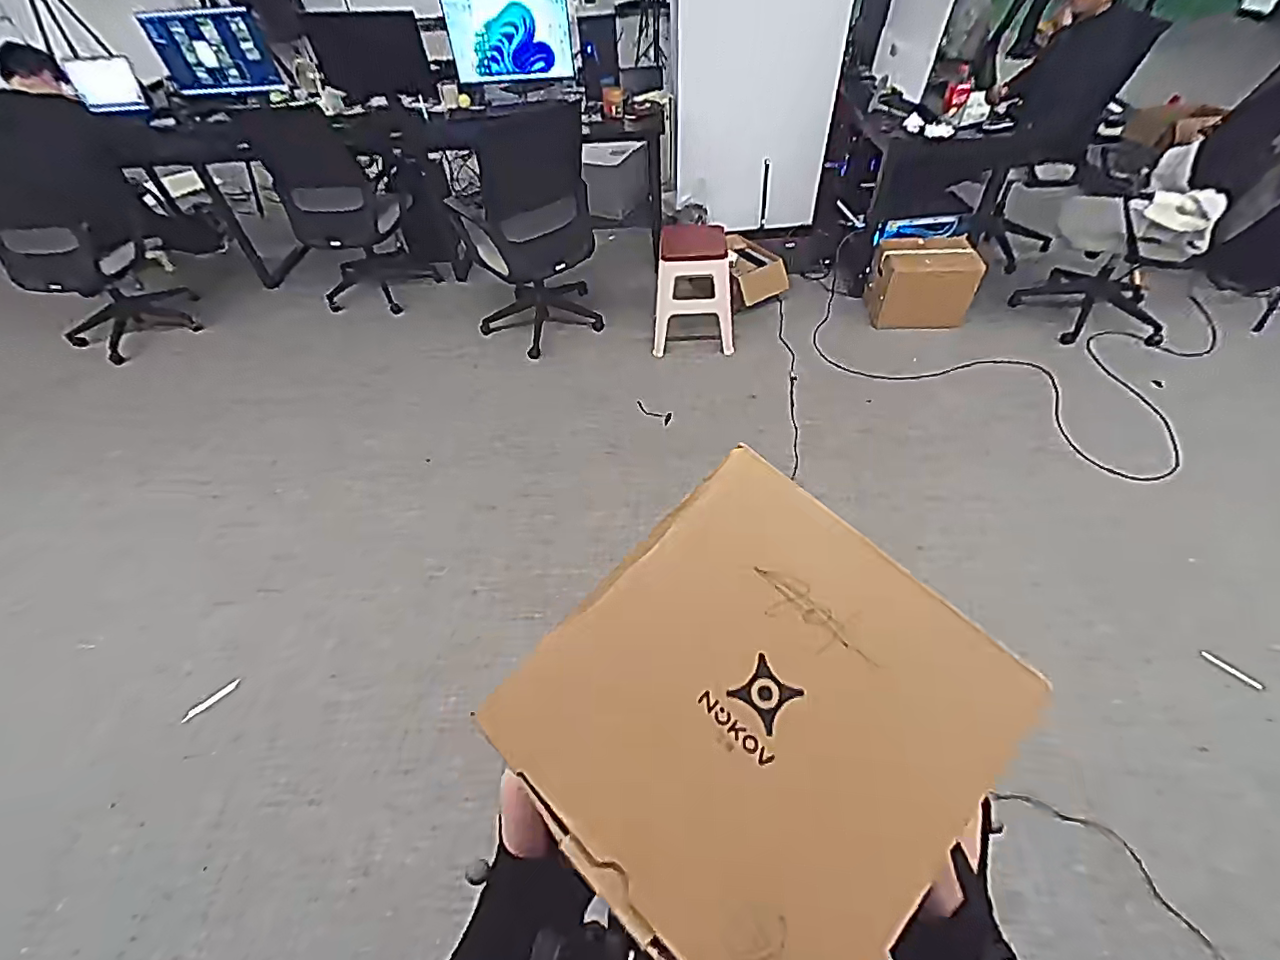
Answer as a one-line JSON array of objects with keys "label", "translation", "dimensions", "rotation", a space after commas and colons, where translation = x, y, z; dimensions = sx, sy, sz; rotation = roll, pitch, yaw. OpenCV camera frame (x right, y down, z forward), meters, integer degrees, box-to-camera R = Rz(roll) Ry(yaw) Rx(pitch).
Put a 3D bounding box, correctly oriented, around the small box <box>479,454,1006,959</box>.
[{"label": "small box", "translation": [0.047, 0.125, 0.308], "dimensions": [0.168, 0.176, 0.179], "rotation": [41, 72, 17]}]
